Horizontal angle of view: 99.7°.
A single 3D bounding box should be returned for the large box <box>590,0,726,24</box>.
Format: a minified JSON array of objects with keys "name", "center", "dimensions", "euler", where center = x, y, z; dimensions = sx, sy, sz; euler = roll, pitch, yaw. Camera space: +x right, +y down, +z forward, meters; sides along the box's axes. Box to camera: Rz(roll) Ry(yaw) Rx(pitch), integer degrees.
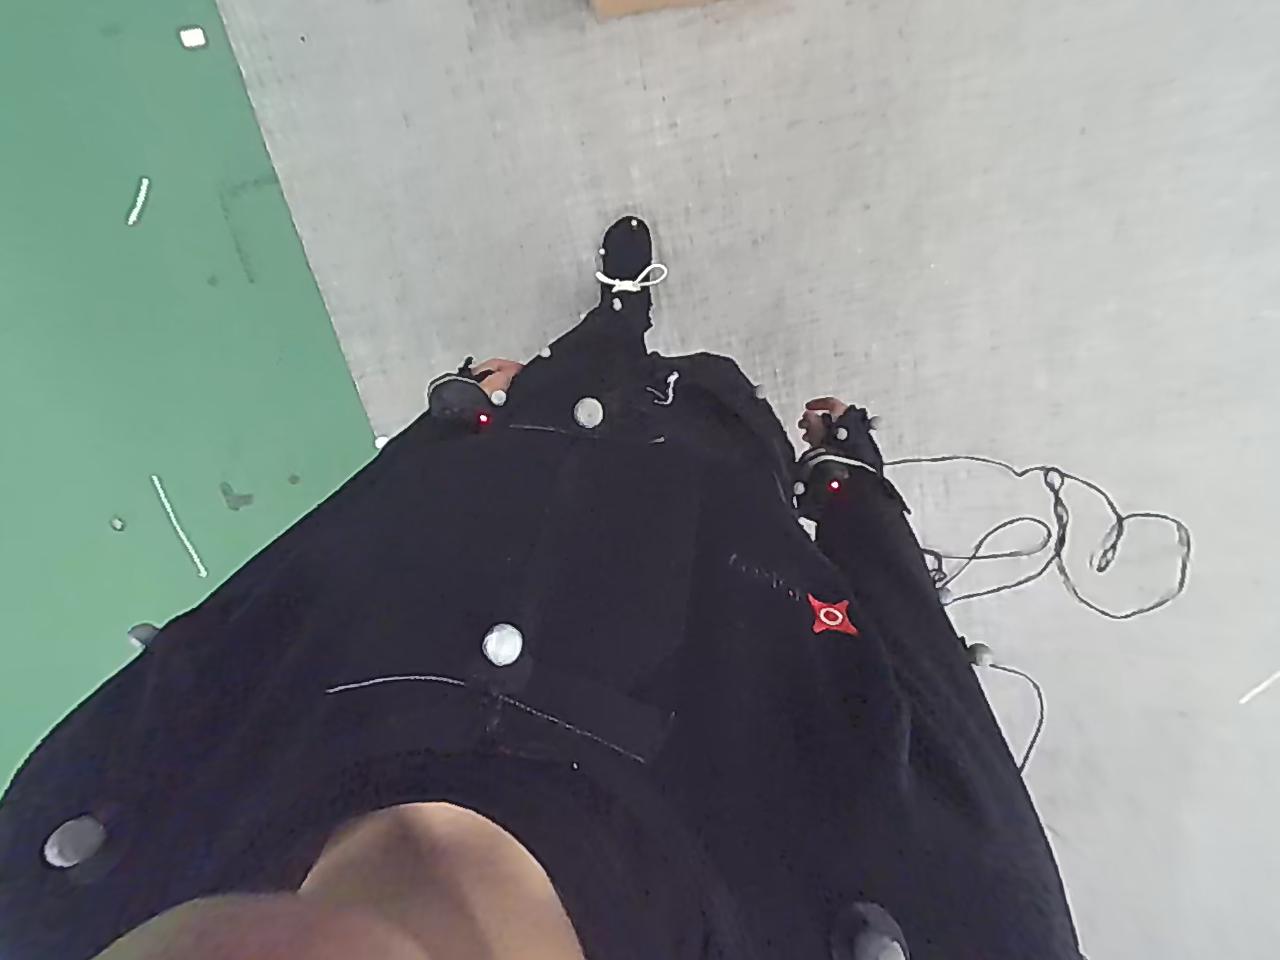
[{"name":"large box","center":[0.081,-1.016,0.866],"dimensions":[0.408,0.320,0.320],"euler":[-6,110,4]}]
